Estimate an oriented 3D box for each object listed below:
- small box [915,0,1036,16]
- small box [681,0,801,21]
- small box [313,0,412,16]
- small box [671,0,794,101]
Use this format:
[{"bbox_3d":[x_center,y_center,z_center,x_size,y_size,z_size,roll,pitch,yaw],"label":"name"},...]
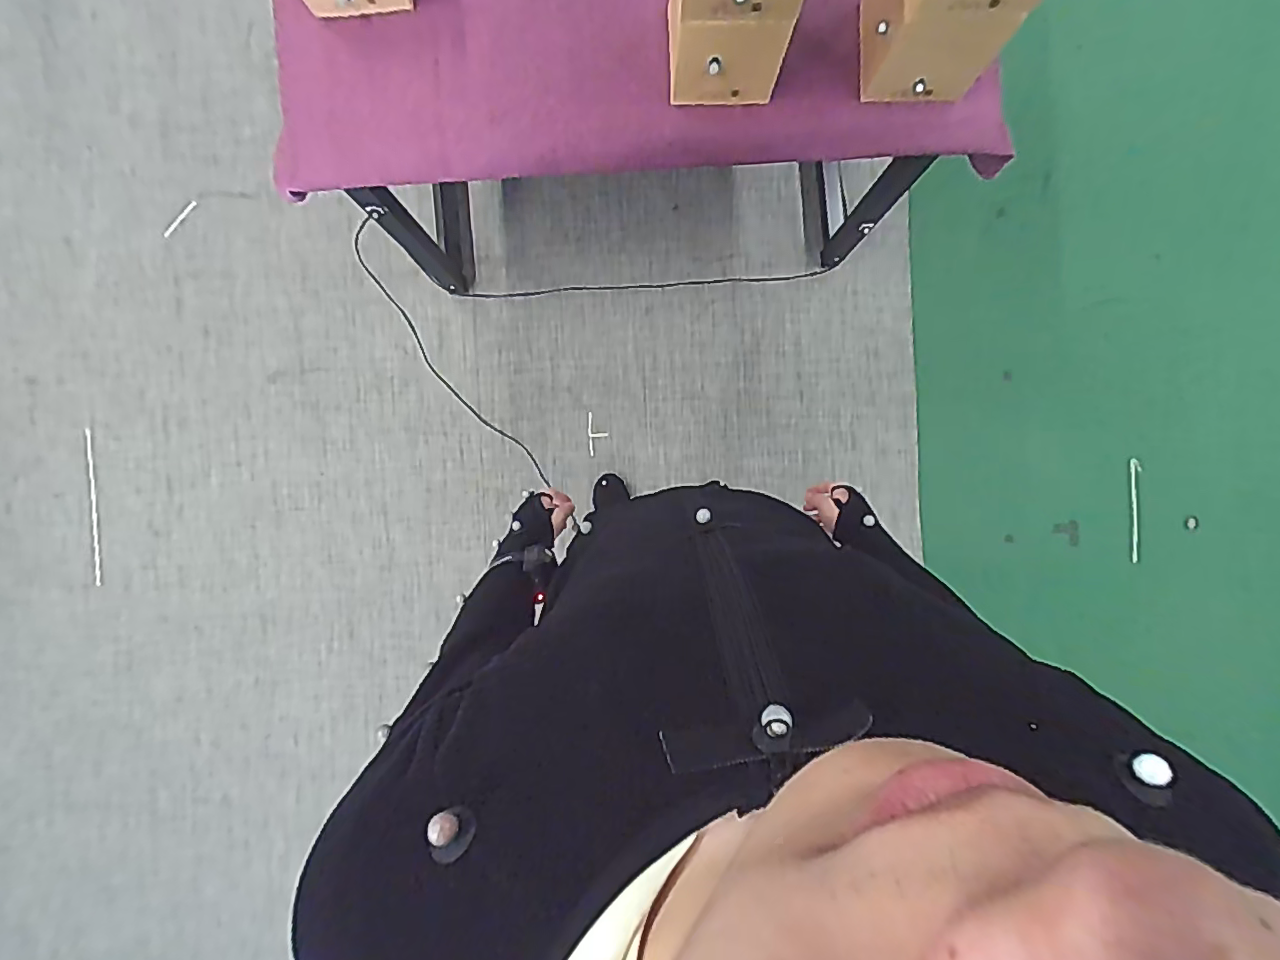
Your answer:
[{"bbox_3d":[0.452,-0.725,0.661,0.168,0.176,0.179,0,89,1],"label":"small box"},{"bbox_3d":[0.135,-0.723,0.665,0.168,0.176,0.179,-1,90,1],"label":"small box"},{"bbox_3d":[-0.470,-0.871,0.829,0.168,0.176,0.179,-6,91,0],"label":"small box"},{"bbox_3d":[0.134,-0.718,0.829,0.168,0.176,0.179,-1,89,0],"label":"small box"}]
